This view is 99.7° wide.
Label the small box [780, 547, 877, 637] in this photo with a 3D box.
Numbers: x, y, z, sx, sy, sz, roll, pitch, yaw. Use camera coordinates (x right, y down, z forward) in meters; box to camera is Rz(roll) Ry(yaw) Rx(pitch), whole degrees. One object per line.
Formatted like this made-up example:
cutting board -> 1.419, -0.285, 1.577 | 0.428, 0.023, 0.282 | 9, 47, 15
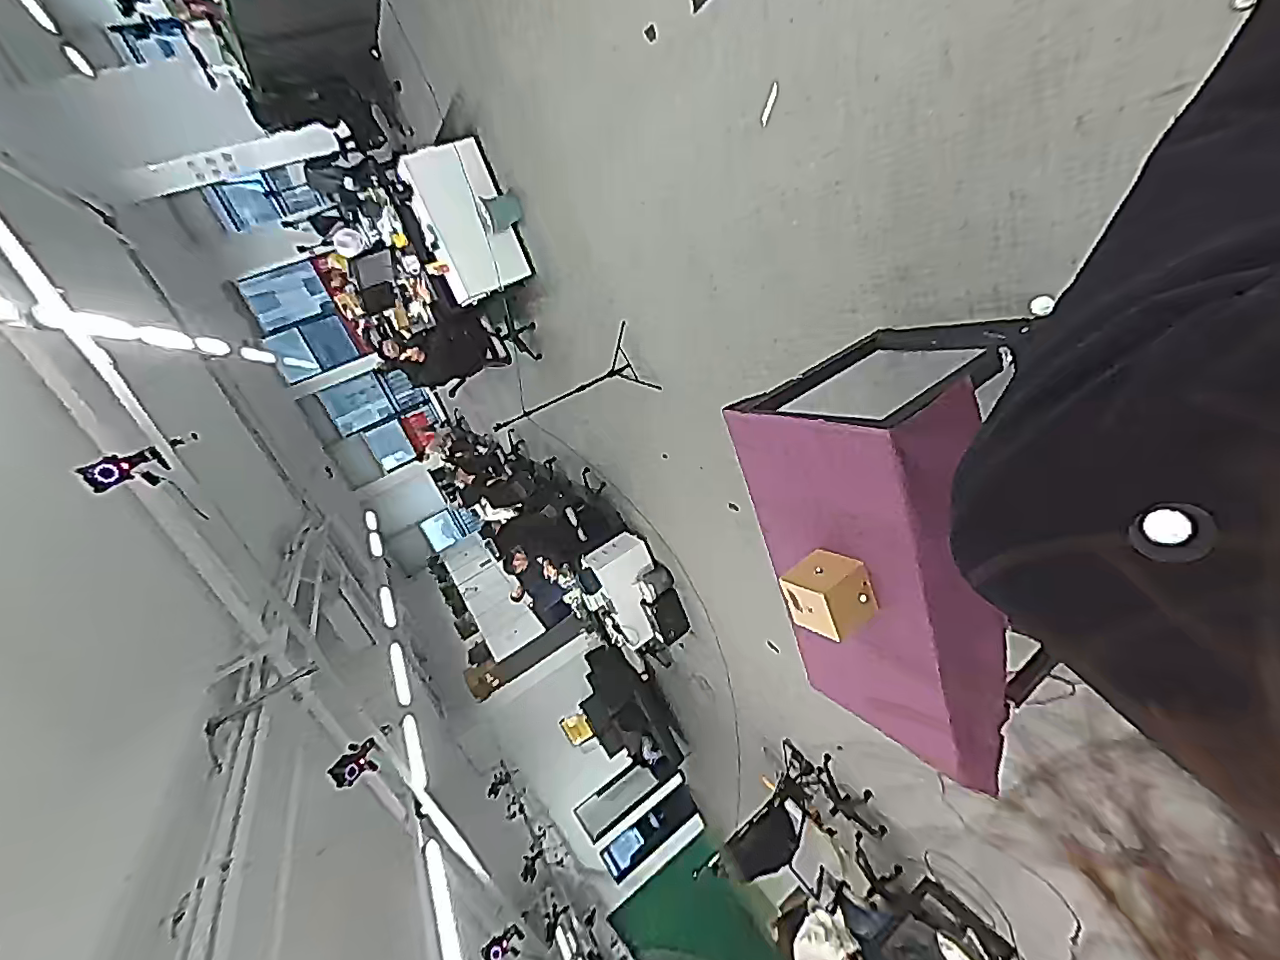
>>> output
small box -> 0.543, 0.313, 1.557 | 0.179, 0.176, 0.168 | 11, 129, 62
